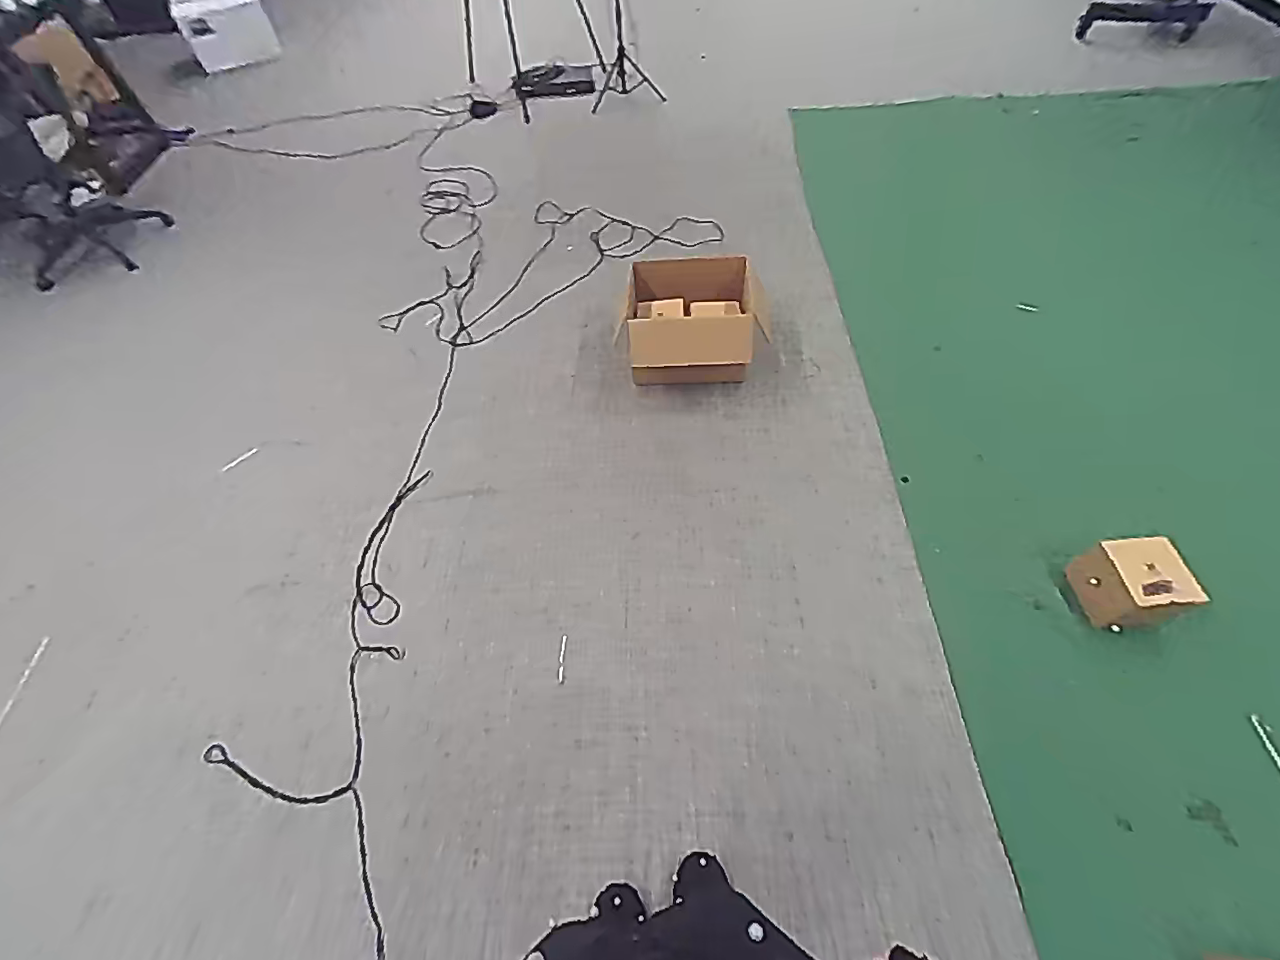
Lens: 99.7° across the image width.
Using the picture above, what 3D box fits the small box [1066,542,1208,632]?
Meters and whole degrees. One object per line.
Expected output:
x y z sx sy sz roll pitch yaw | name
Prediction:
1.241 0.276 1.367 0.168 0.176 0.179 -4 55 2 | small box
